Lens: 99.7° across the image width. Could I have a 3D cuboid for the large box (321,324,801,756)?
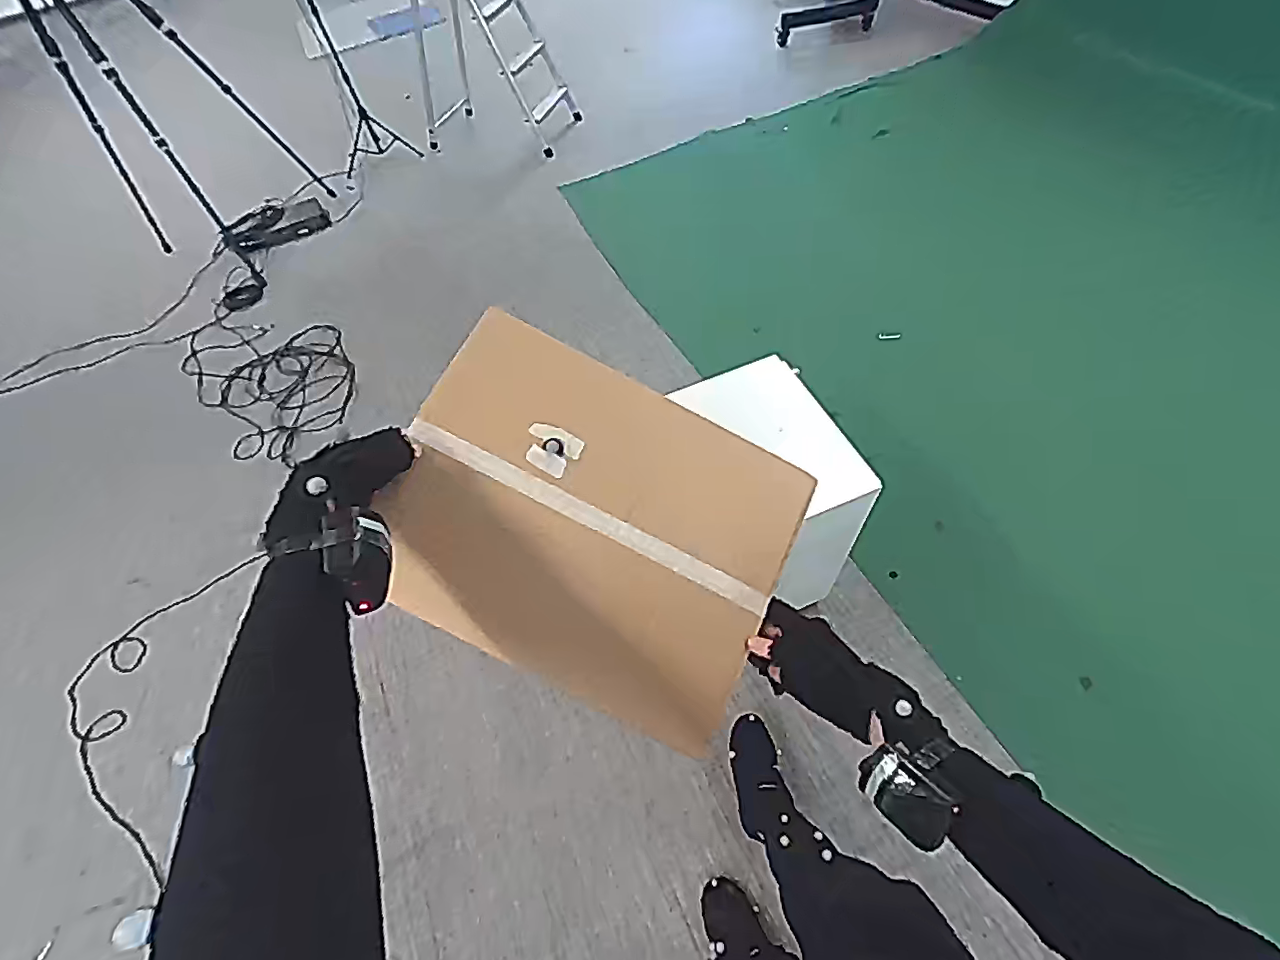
[{"bbox_3d":[-0.077,0.081,0.694,0.408,0.320,0.320,28,74,2],"label":"large box"}]
